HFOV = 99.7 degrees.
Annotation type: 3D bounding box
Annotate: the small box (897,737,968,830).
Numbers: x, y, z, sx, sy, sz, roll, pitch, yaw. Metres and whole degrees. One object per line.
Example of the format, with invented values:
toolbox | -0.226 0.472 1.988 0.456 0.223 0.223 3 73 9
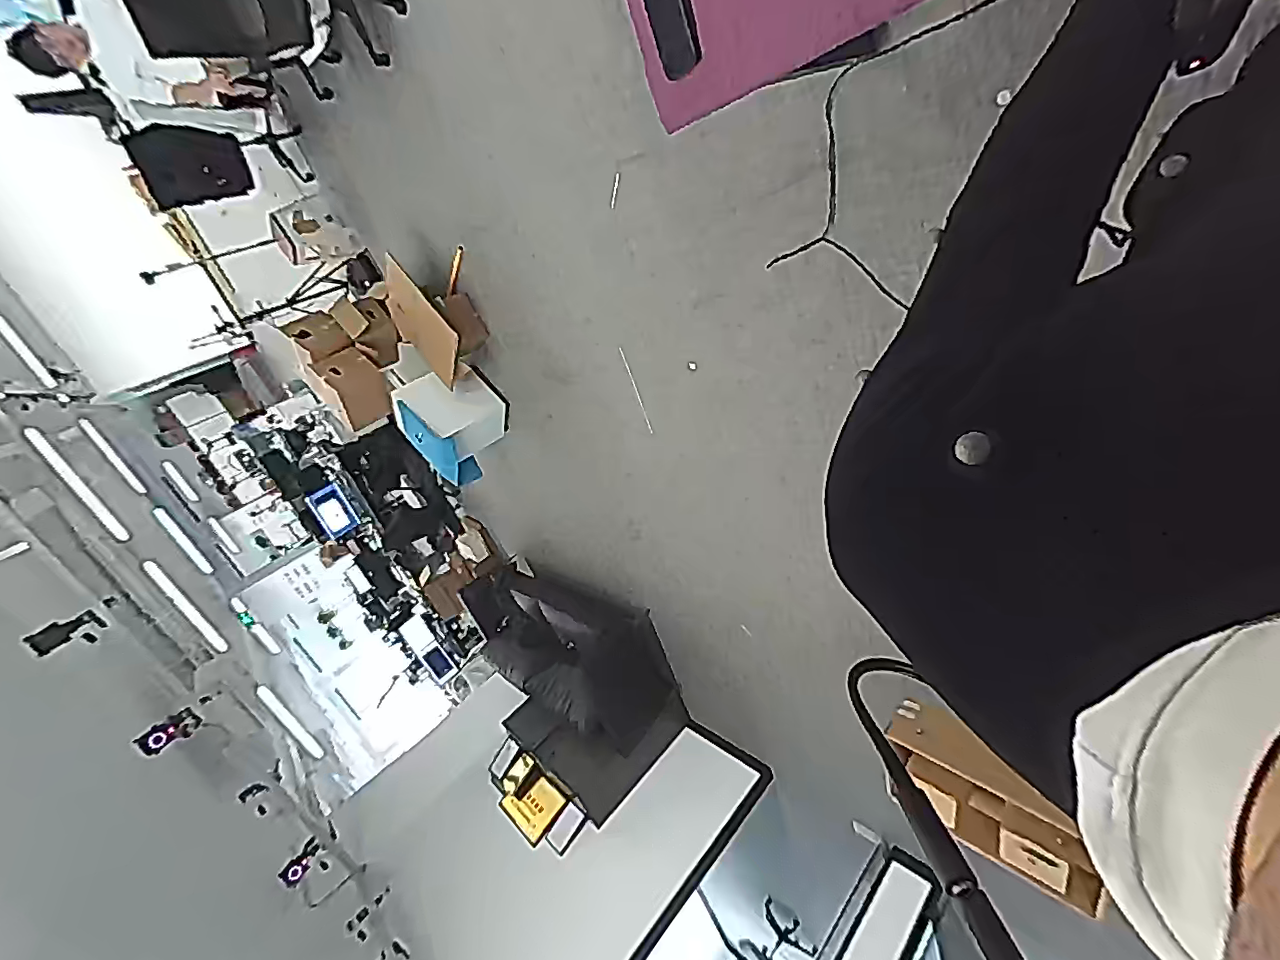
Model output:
small box | 0.991 1.022 1.832 0.168 0.176 0.179 17 133 44
